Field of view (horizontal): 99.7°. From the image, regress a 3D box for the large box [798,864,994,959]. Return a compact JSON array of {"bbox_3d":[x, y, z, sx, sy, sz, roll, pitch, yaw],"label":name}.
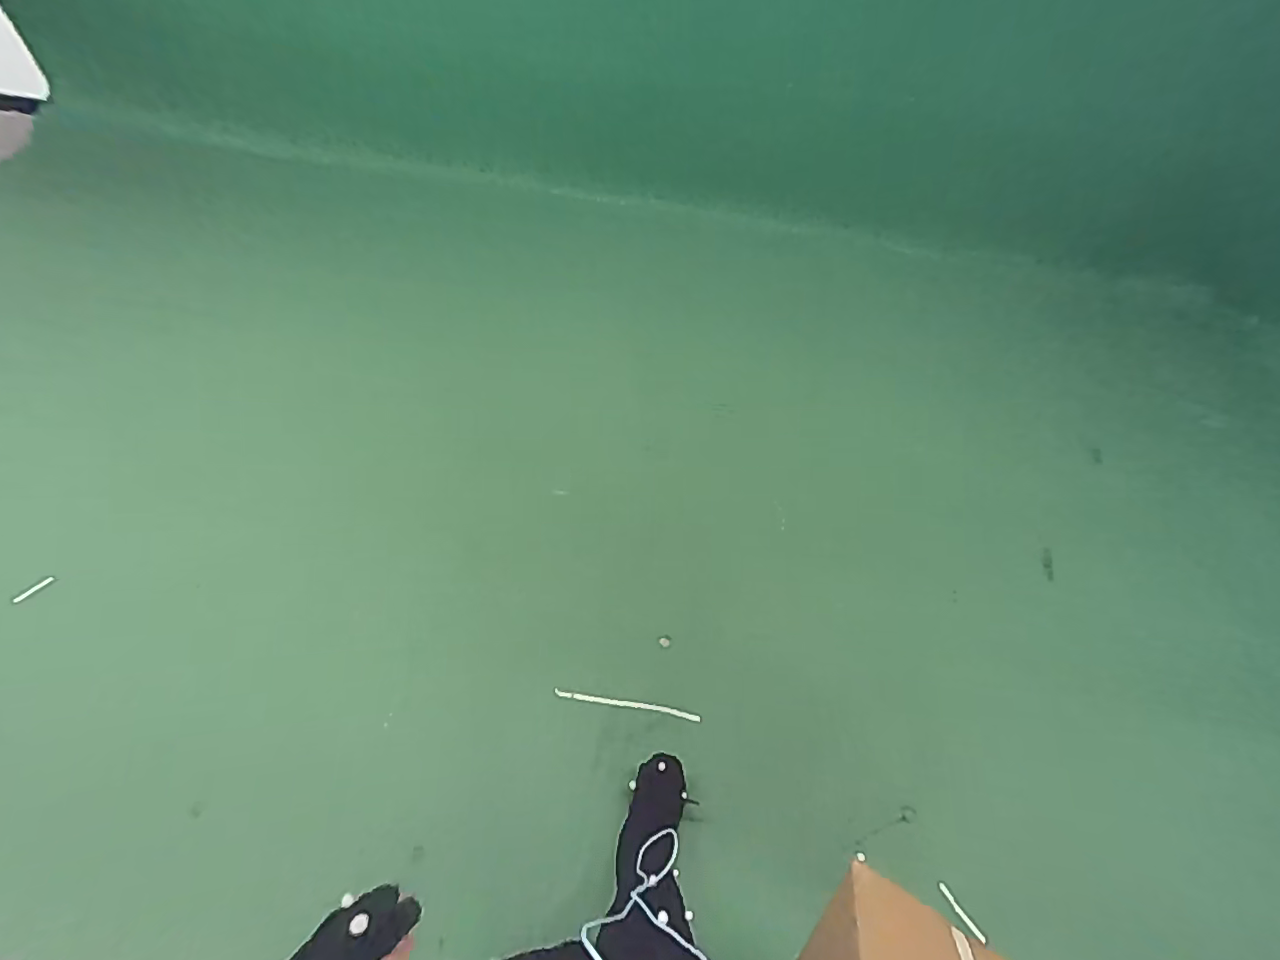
[{"bbox_3d":[0.329,0.784,0.627,0.320,0.408,0.320,29,93,20],"label":"large box"}]
